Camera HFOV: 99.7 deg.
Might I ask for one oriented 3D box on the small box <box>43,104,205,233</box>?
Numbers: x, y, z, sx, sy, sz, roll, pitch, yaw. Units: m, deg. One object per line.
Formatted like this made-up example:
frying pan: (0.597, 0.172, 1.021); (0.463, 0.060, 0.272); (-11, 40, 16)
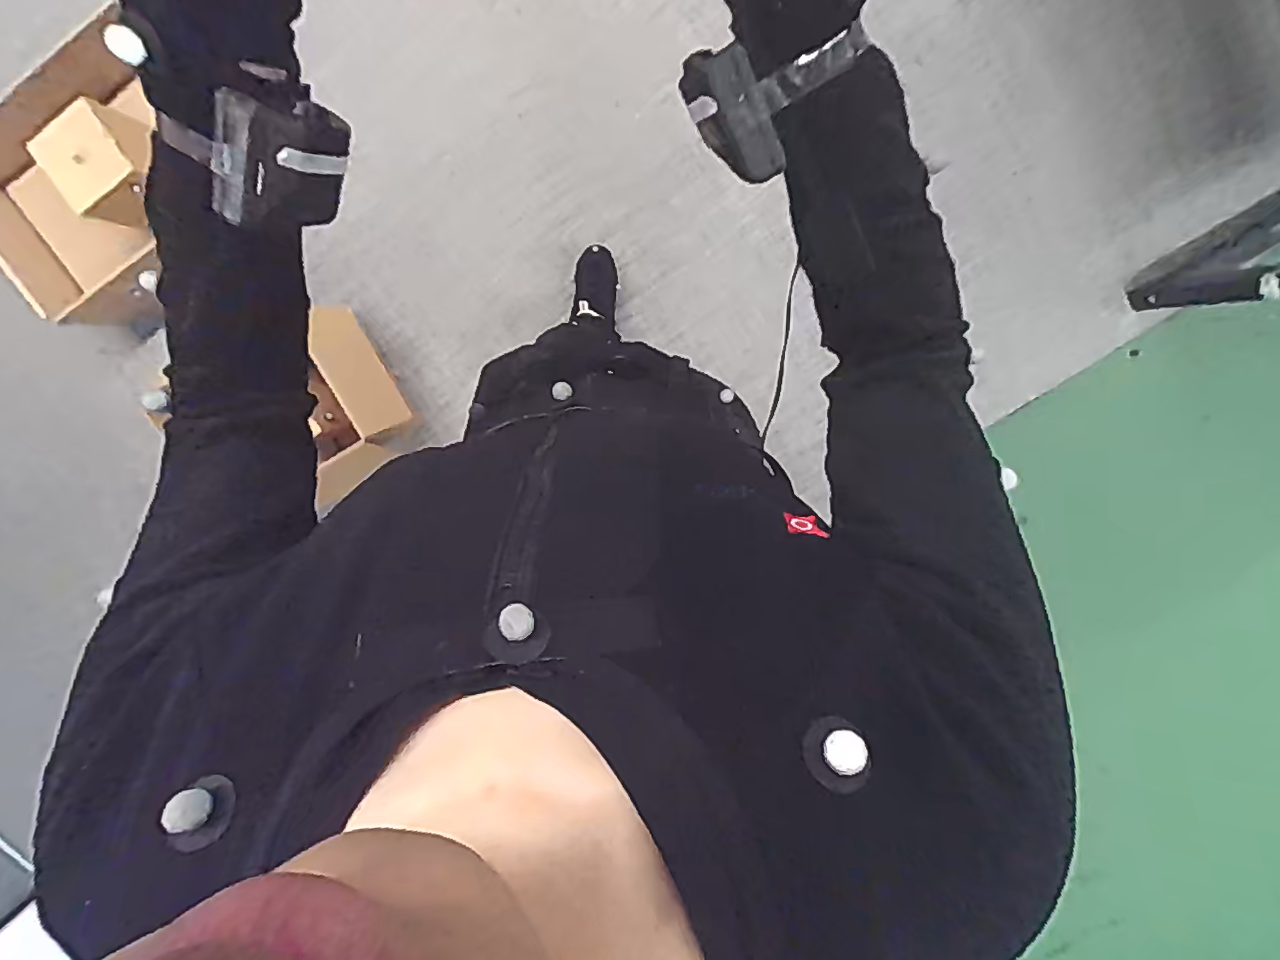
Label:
small box: (-1.167, -0.697, 1.238); (0.179, 0.176, 0.168); (-30, 99, 10)
